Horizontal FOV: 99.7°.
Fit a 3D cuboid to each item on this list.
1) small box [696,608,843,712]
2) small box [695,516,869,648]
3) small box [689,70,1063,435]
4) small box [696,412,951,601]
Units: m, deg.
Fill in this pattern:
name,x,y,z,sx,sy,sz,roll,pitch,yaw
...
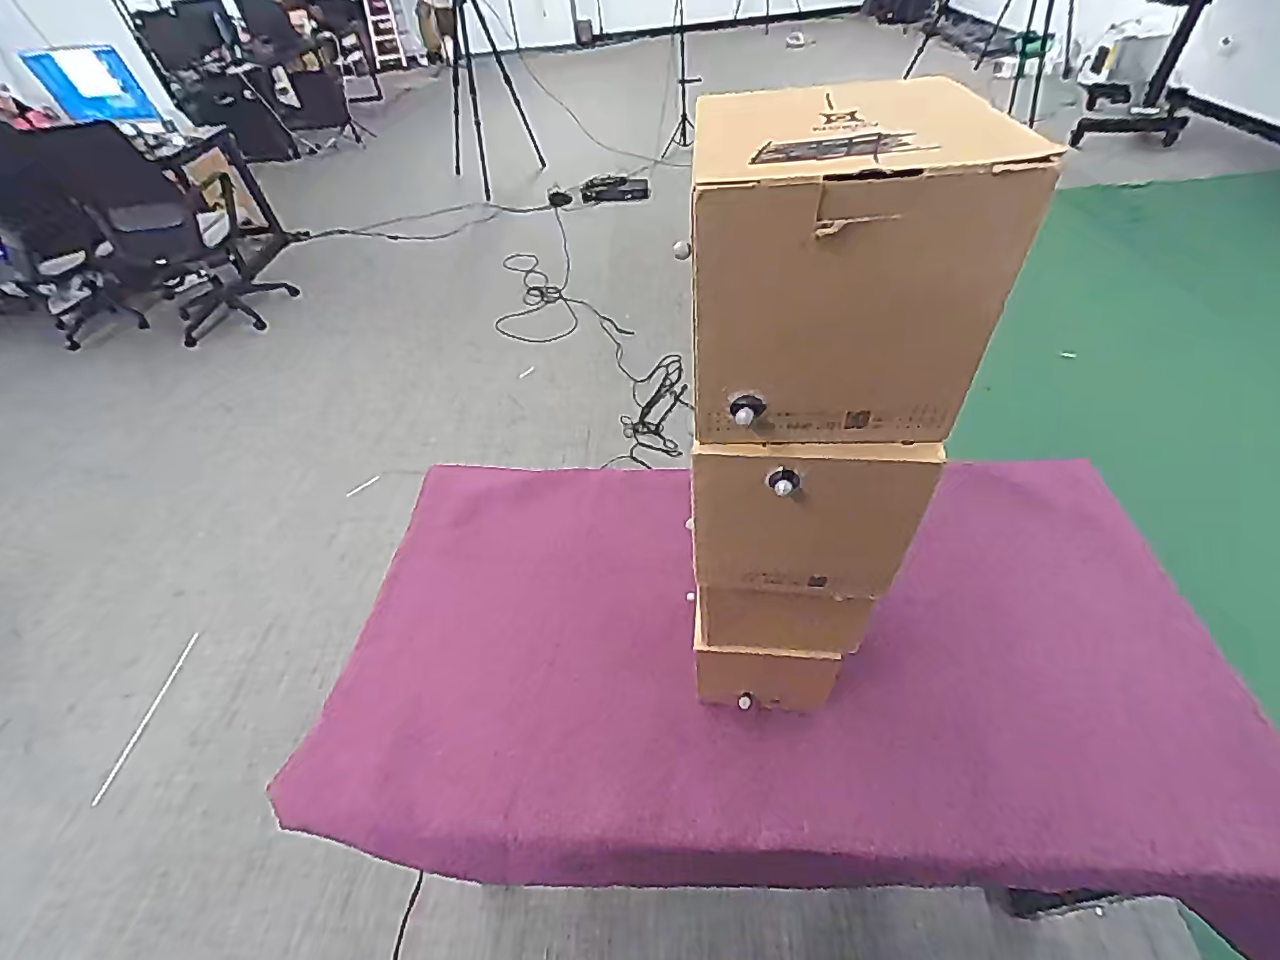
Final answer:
name,x,y,z,sx,sy,sz,roll,pitch,yaw
small box,0.163,0.185,0.720,0.168,0.176,0.179,1,48,9
small box,0.154,0.074,0.603,0.179,0.176,0.168,0,47,8
small box,0.120,-0.143,0.358,0.168,0.176,0.179,0,46,7
small box,0.137,-0.020,0.468,0.168,0.176,0.179,2,47,10
